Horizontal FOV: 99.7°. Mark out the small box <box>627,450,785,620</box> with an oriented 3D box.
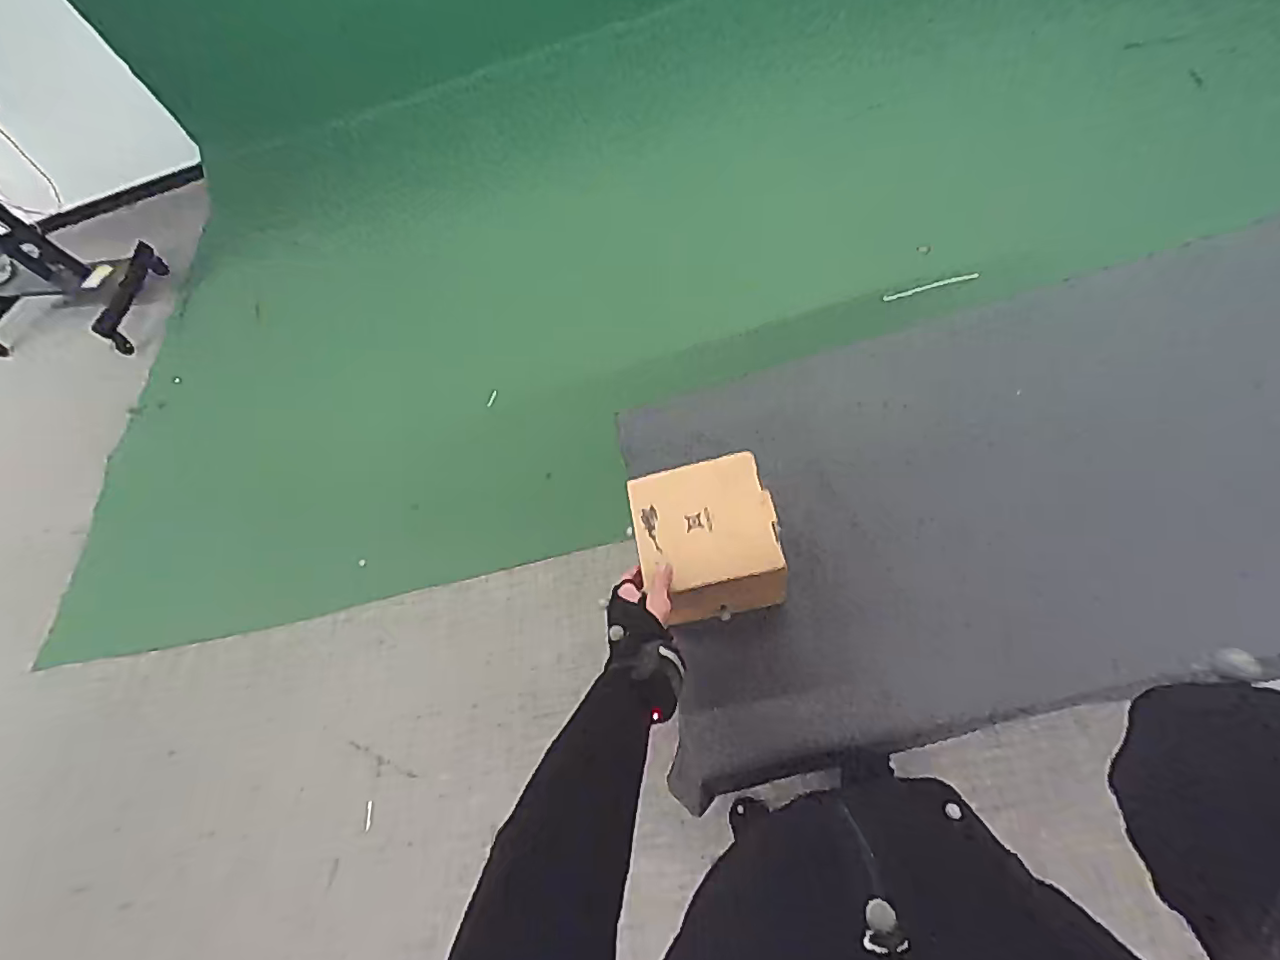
[{"bbox_3d":[0.091,0.084,0.754,0.179,0.176,0.168,-13,60,6],"label":"small box"}]
